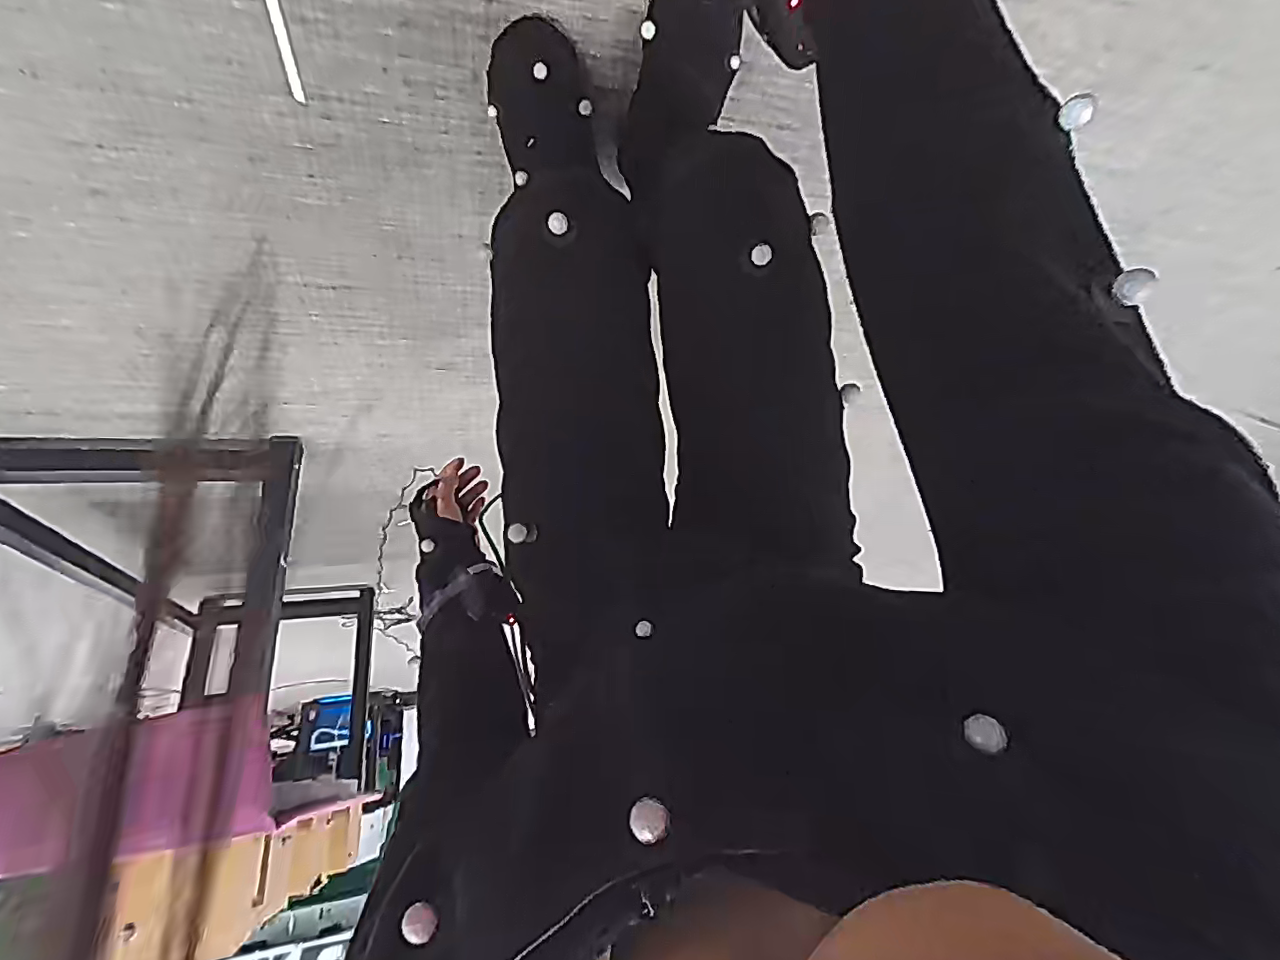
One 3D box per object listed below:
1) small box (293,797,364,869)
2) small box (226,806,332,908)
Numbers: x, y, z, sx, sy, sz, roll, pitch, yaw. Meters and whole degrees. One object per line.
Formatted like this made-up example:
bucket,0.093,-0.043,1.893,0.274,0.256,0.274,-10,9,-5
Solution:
small box,-0.939,1.061,1.621,0.168,0.176,0.179,-2,153,-15
small box,-0.878,0.916,1.335,0.179,0.176,0.168,-2,154,-15
